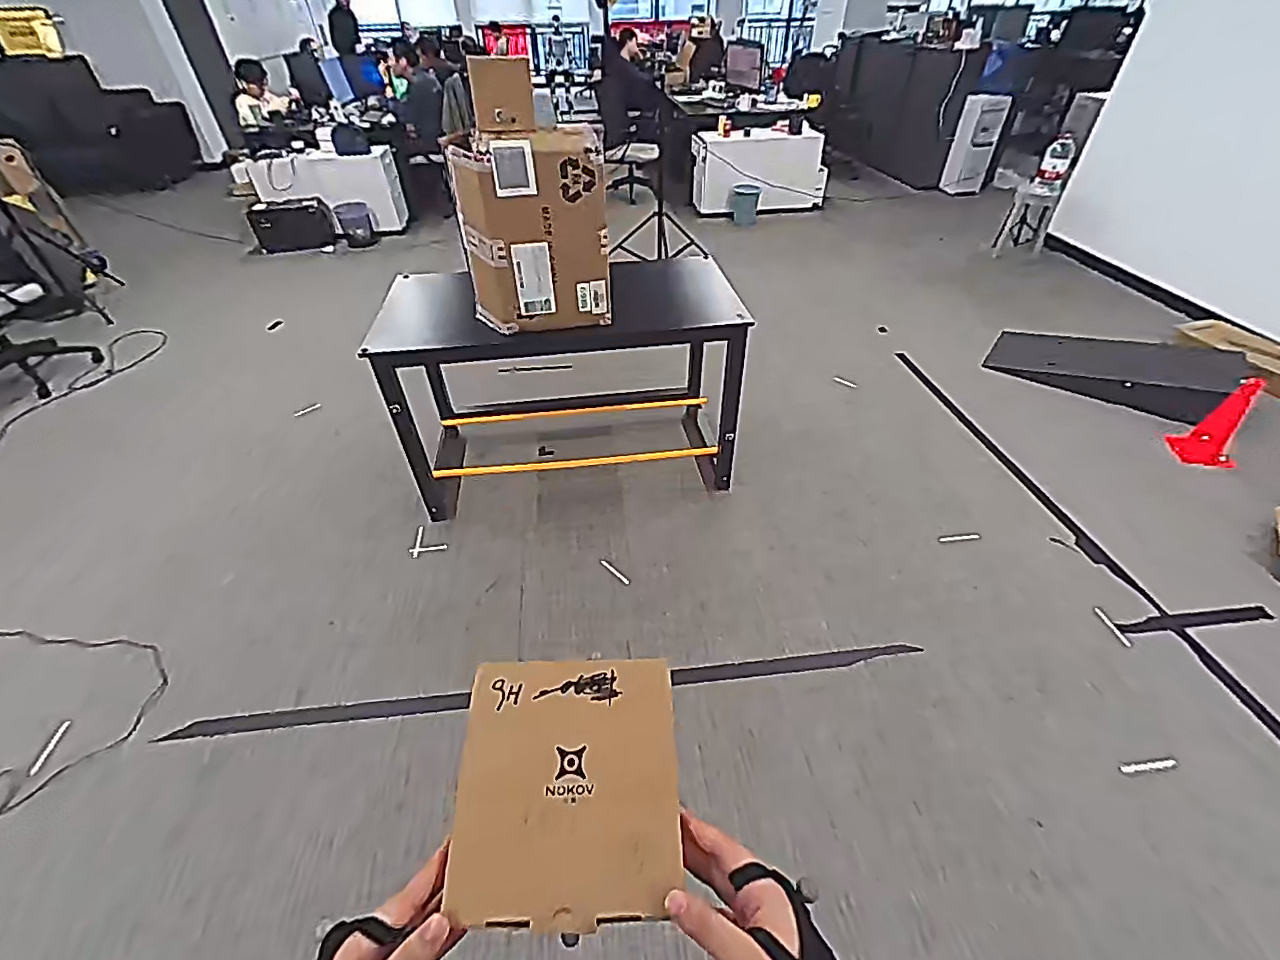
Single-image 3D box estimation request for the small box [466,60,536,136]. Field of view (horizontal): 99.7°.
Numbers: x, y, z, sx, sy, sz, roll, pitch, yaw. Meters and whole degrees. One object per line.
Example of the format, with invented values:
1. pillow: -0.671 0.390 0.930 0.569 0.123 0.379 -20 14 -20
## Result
1. small box: -0.395 -1.088 1.539 0.168 0.176 0.179 -10 41 -11
